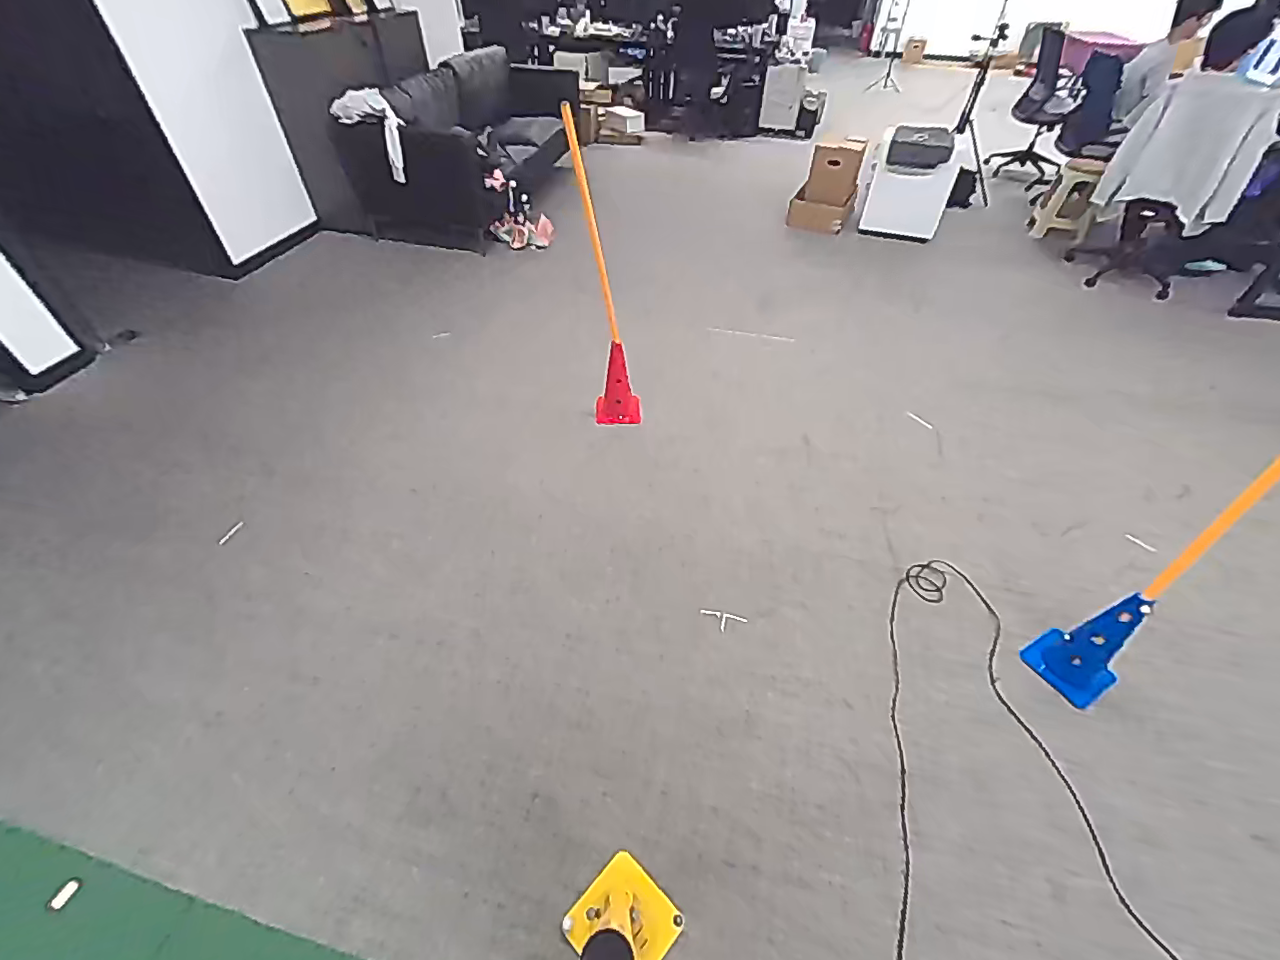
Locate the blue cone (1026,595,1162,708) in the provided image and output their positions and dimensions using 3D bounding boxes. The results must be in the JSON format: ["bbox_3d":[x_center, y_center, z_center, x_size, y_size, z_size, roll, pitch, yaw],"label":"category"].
[{"bbox_3d":[1.272,0.434,1.485,0.193,0.380,0.192,-20,48,-24],"label":"blue cone"}]
